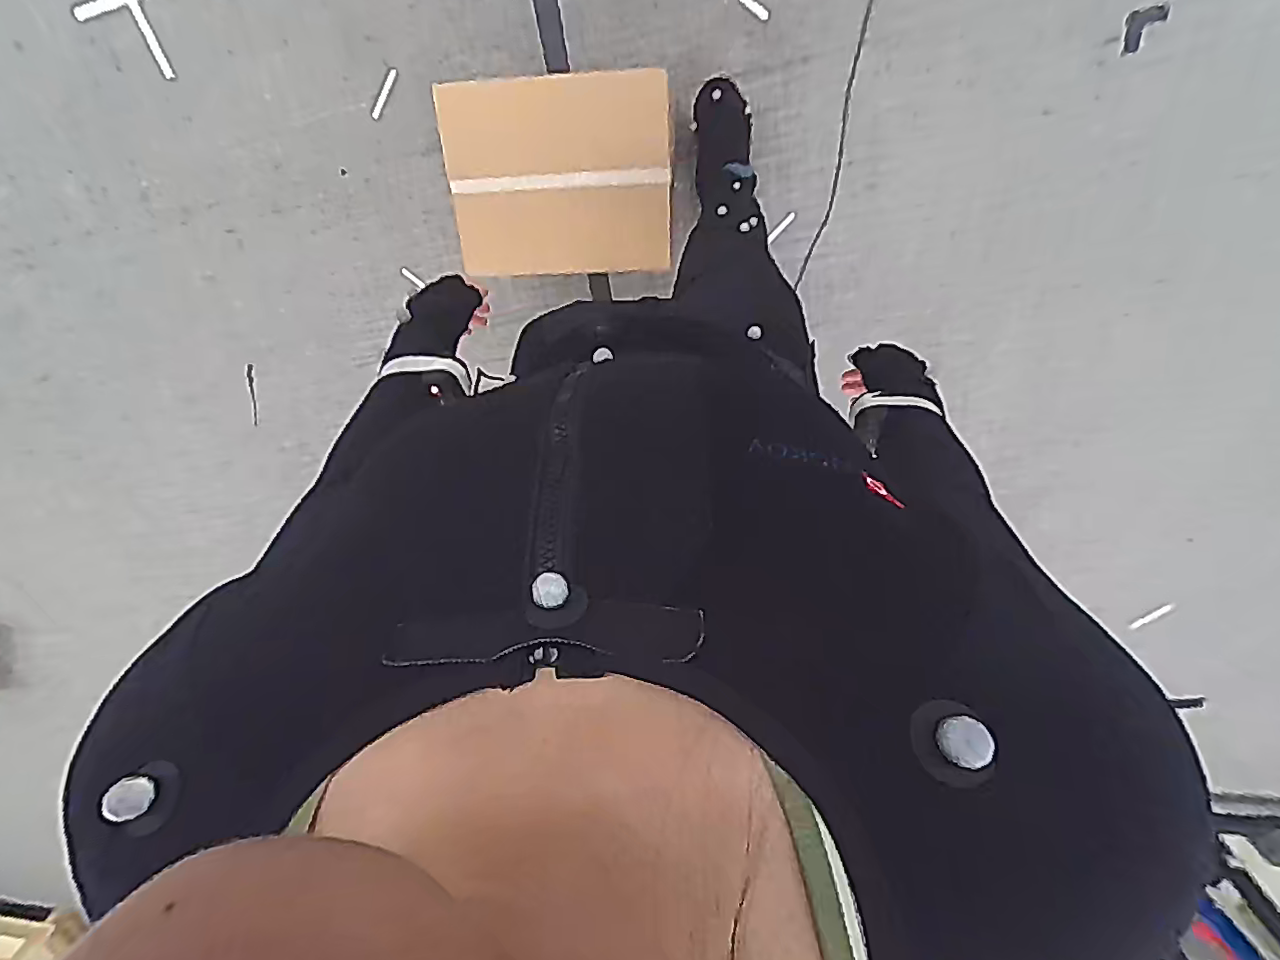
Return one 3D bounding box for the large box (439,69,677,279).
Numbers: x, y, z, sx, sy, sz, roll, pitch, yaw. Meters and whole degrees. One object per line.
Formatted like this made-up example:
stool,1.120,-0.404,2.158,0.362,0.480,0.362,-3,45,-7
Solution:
large box,-0.130,-0.606,1.104,0.408,0.320,0.320,0,120,5
